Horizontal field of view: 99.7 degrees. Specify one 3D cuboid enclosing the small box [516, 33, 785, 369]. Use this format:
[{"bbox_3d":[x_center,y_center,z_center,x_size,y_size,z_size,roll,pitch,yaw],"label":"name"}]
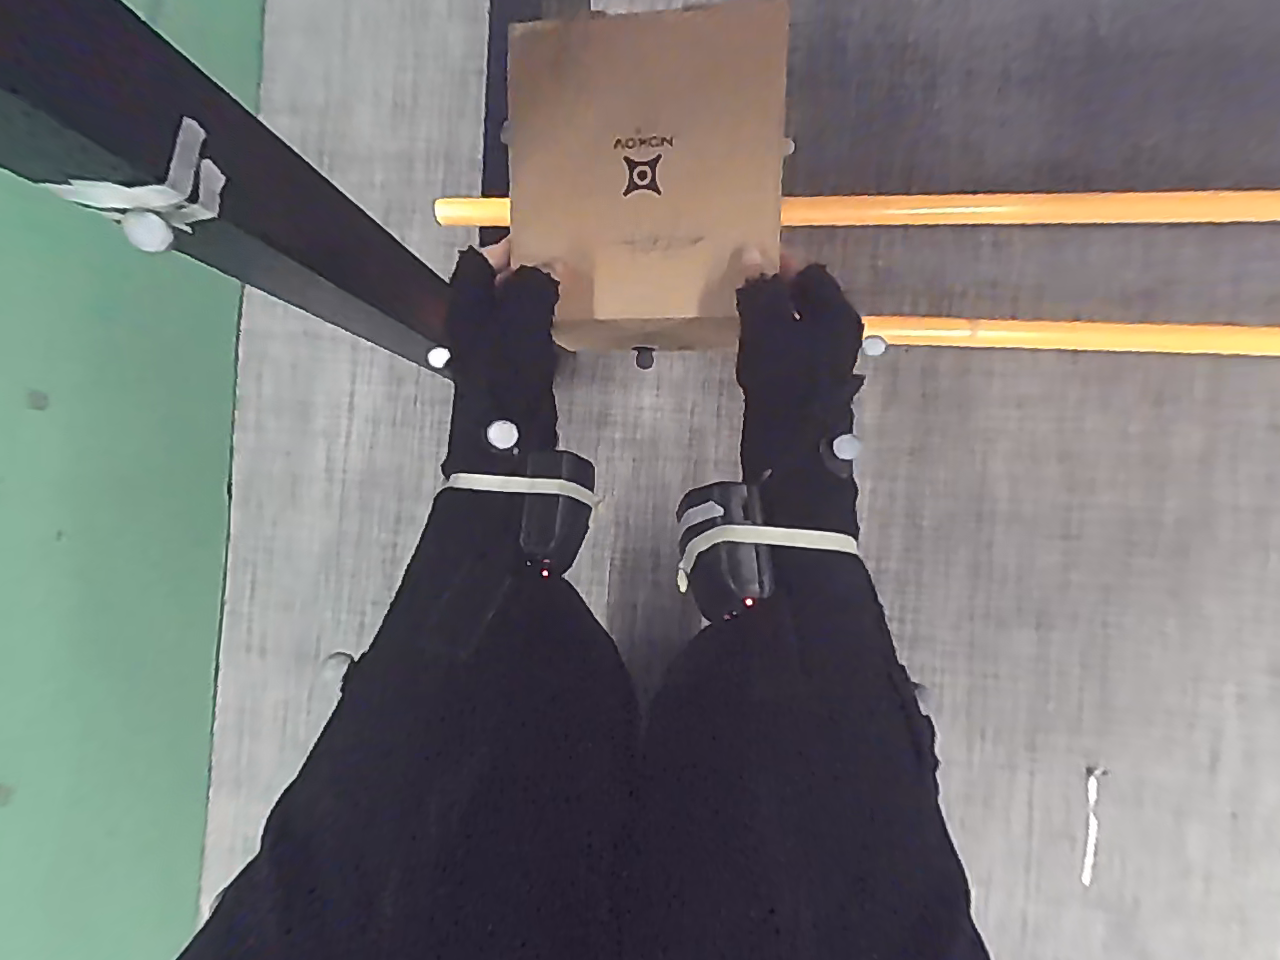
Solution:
[{"bbox_3d":[0.013,-0.183,0.410,0.168,0.176,0.179,0,96,8],"label":"small box"}]
